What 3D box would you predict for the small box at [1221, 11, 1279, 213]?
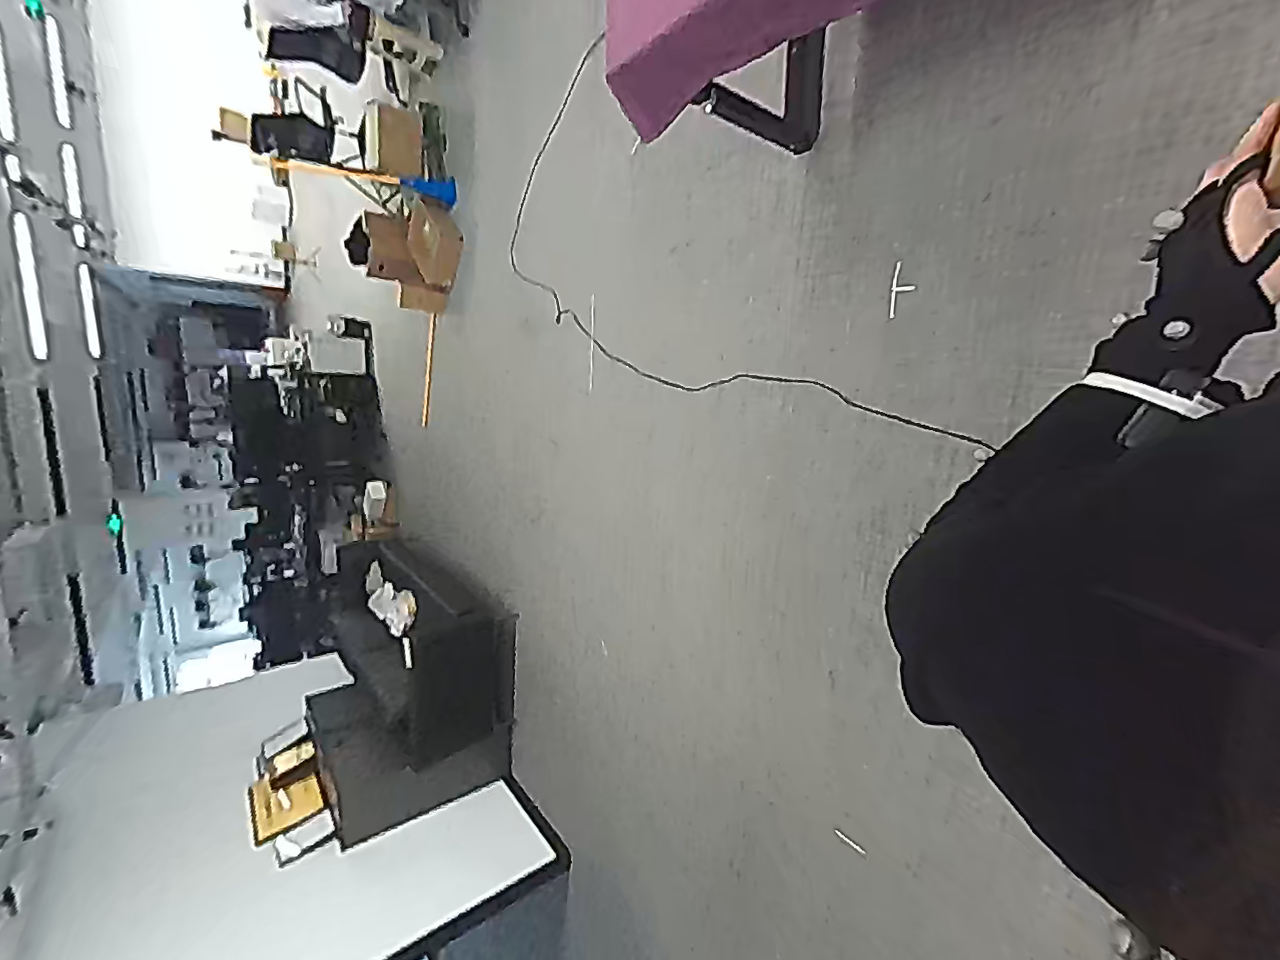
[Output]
[{"bbox_3d":[0.432,-0.255,0.252,0.168,0.179,0.176,17,94,37],"label":"small box"}]
